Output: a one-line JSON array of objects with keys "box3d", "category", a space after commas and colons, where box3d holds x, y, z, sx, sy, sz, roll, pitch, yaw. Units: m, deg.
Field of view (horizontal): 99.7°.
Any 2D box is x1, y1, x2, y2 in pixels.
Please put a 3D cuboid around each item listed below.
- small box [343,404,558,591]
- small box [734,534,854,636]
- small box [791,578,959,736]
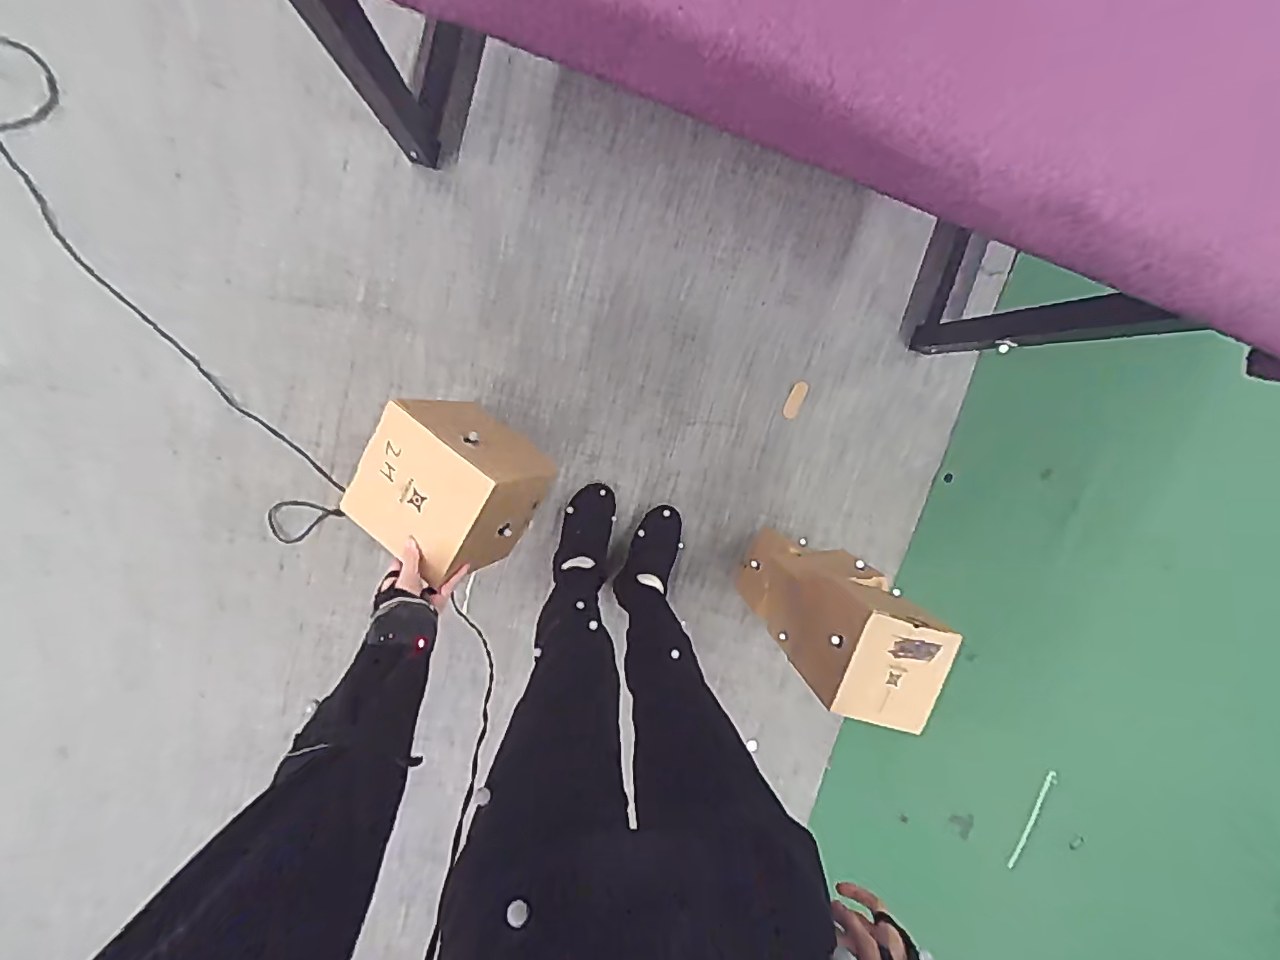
[{"box3d": [-0.241, 0.012, 0.722, 0.179, 0.176, 0.168, 38, 106, 11], "category": "small box"}, {"box3d": [0.338, 0.238, 1.228, 0.179, 0.176, 0.168, 26, 96, -9], "category": "small box"}, {"box3d": [0.378, 0.286, 0.904, 0.168, 0.176, 0.179, 18, 98, -10], "category": "small box"}]
